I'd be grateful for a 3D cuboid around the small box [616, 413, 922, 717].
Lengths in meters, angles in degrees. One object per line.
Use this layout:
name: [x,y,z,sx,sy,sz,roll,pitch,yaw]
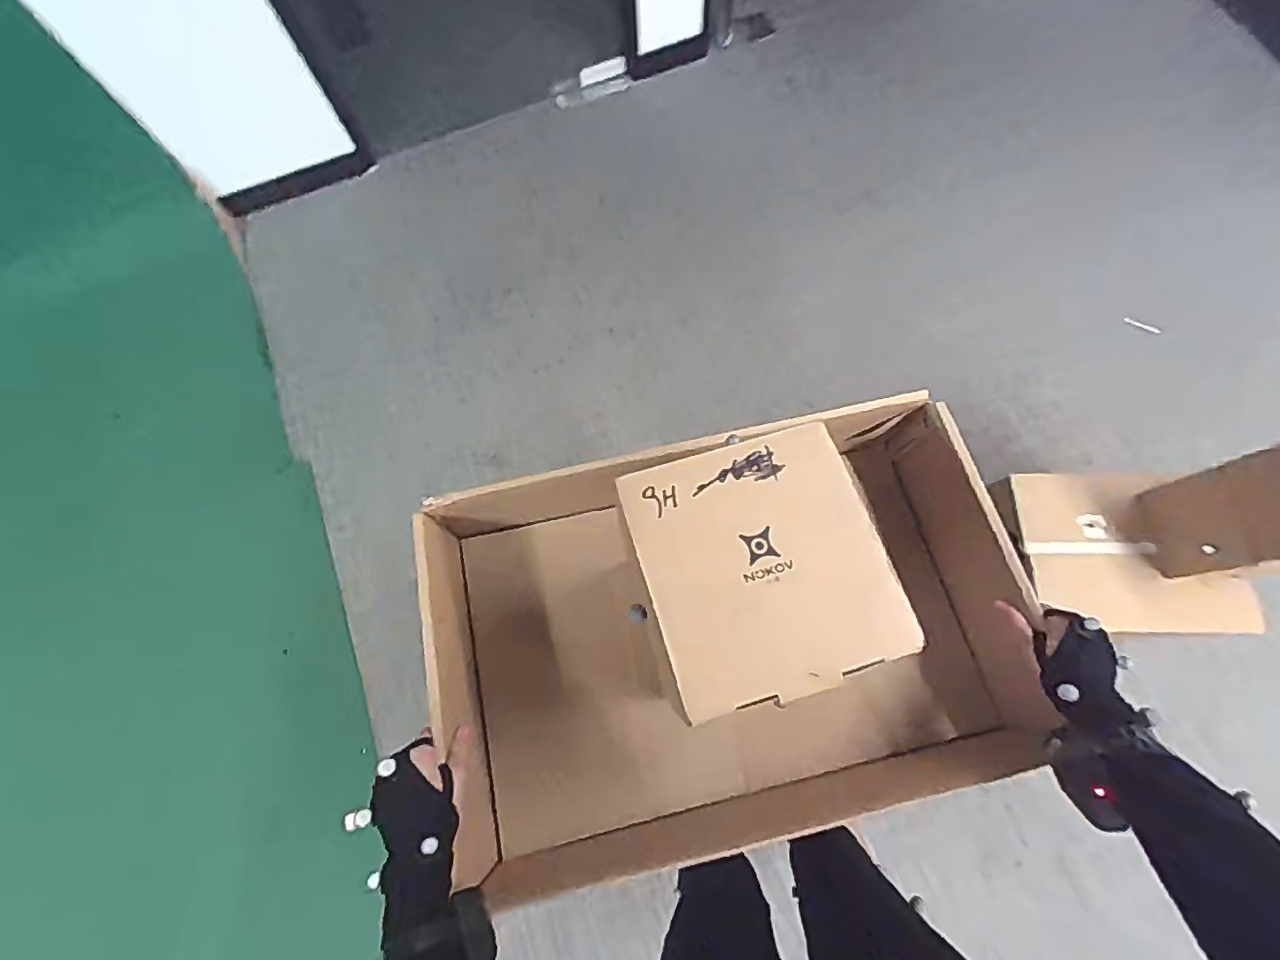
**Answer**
small box: [0.084,0.074,0.445,0.168,0.176,0.179,-15,72,-6]
